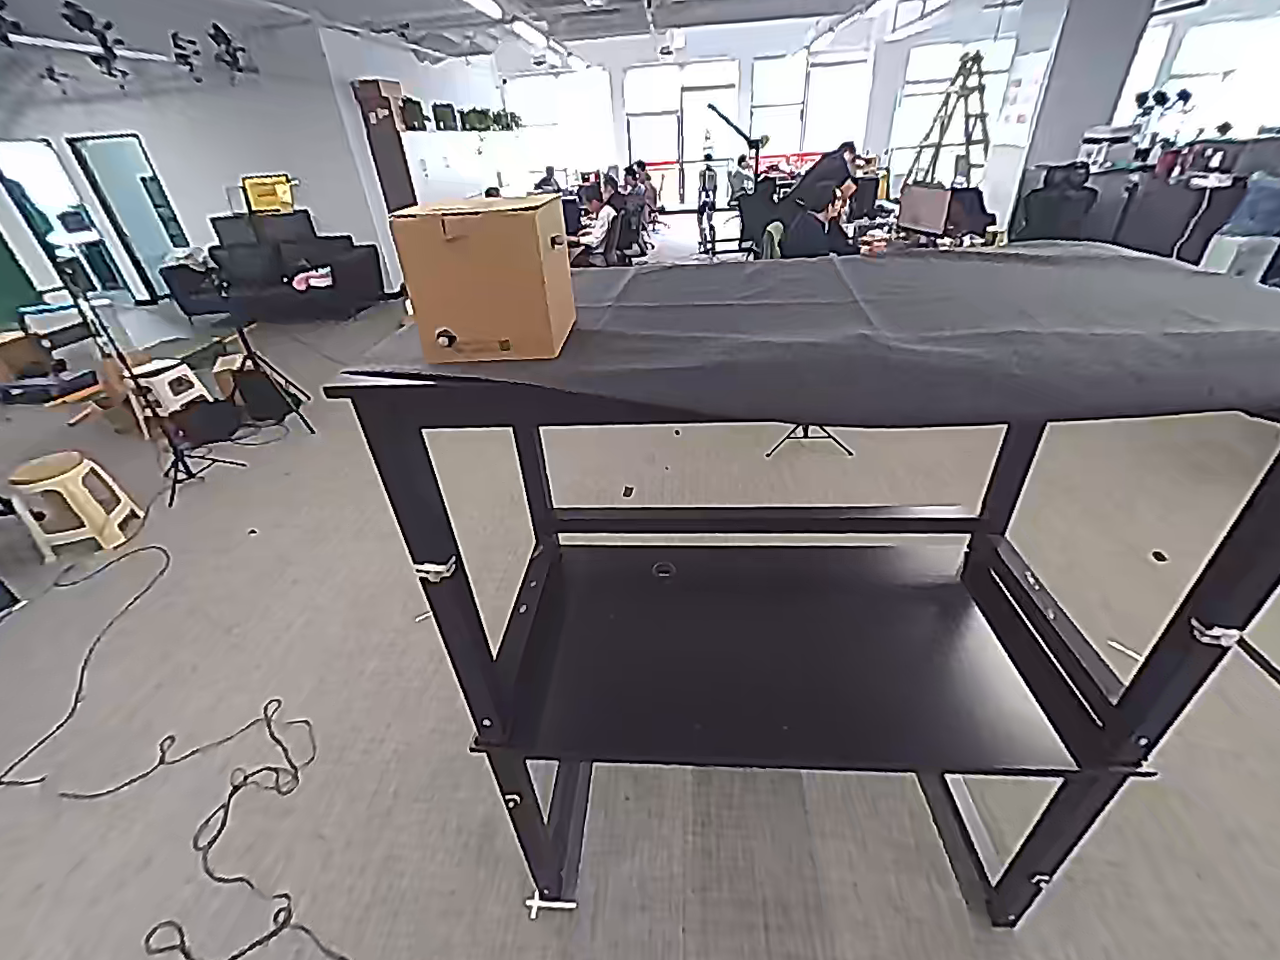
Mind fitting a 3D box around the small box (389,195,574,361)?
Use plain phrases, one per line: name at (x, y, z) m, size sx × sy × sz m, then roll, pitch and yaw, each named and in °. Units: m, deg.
small box at (-0.183, -0.257, 0.692) m, size 0.168 × 0.176 × 0.179 m, roll -1°, pitch 32°, yaw 4°
